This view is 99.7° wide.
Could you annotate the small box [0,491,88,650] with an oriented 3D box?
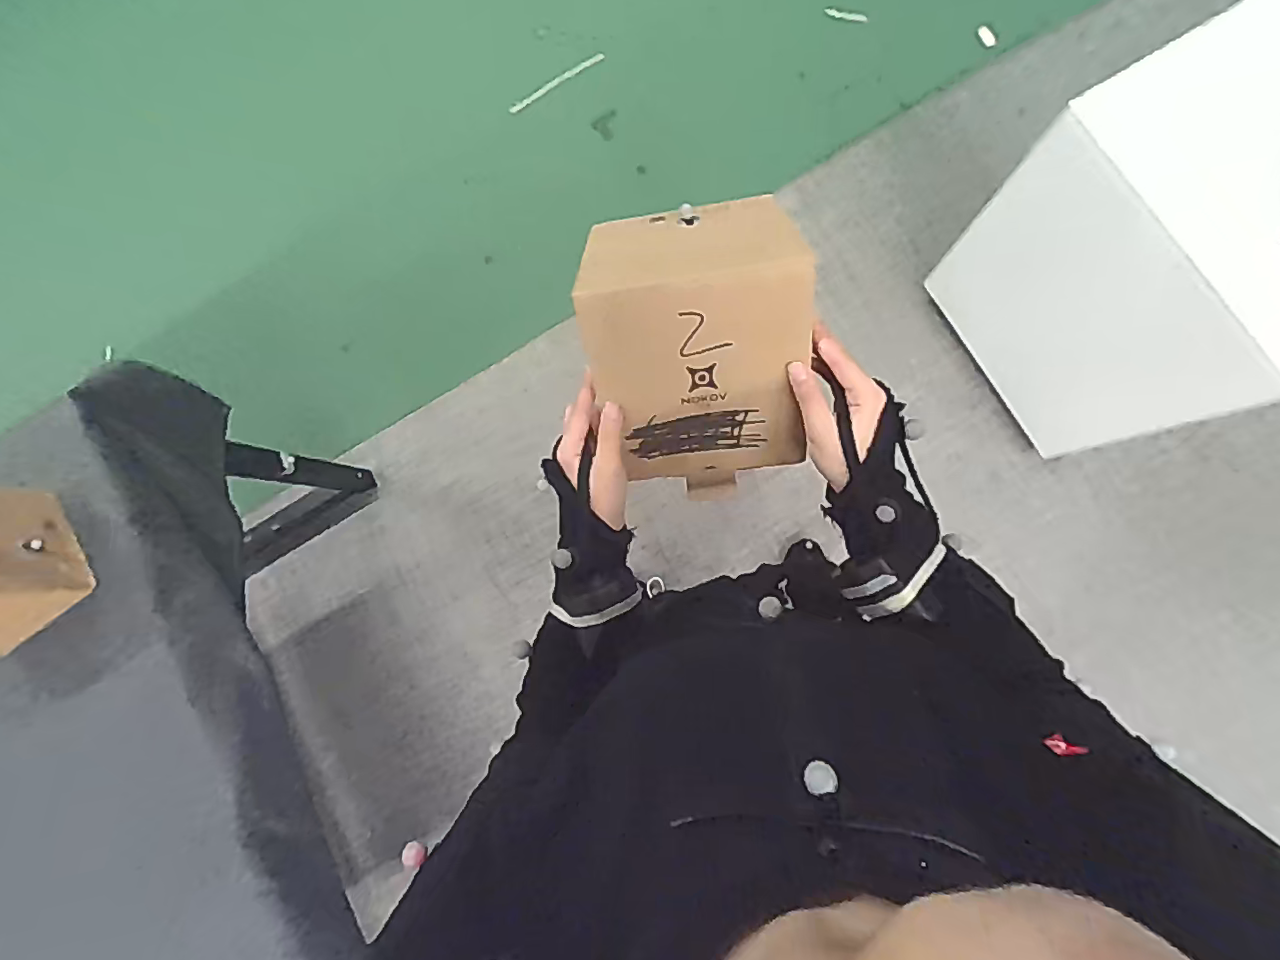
[{"bbox_3d":[-0.887,0.124,0.691,0.179,0.176,0.168,-35,81,2],"label":"small box"}]
